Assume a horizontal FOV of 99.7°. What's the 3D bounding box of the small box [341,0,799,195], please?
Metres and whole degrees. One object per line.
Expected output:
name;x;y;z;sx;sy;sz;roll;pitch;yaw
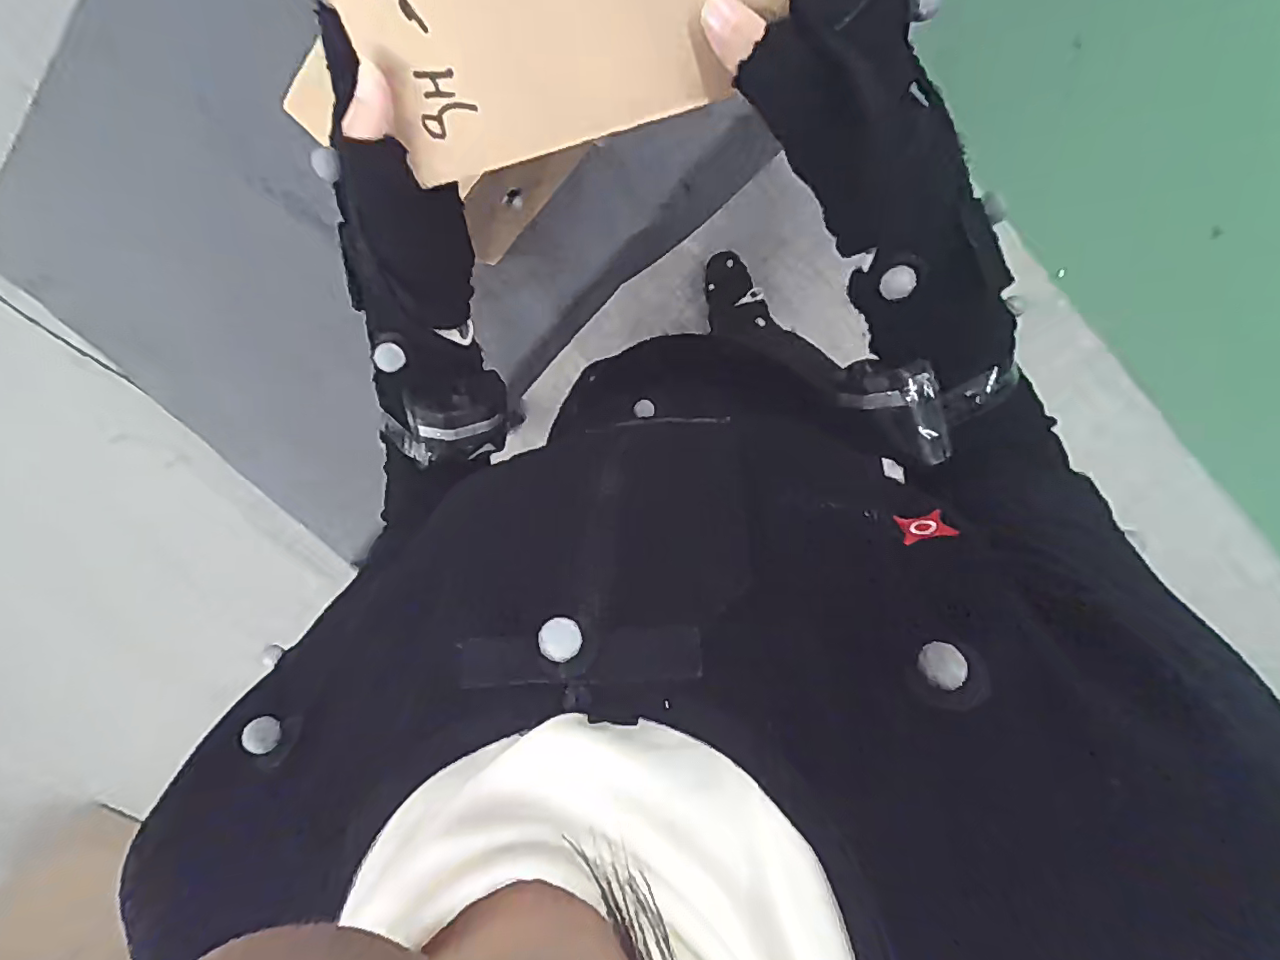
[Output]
small box;-0.041;-0.265;0.255;0.179;0.176;0.168;-15;128;8

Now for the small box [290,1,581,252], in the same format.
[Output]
small box;-0.171;-0.347;0.516;0.168;0.176;0.179;44;108;-7
